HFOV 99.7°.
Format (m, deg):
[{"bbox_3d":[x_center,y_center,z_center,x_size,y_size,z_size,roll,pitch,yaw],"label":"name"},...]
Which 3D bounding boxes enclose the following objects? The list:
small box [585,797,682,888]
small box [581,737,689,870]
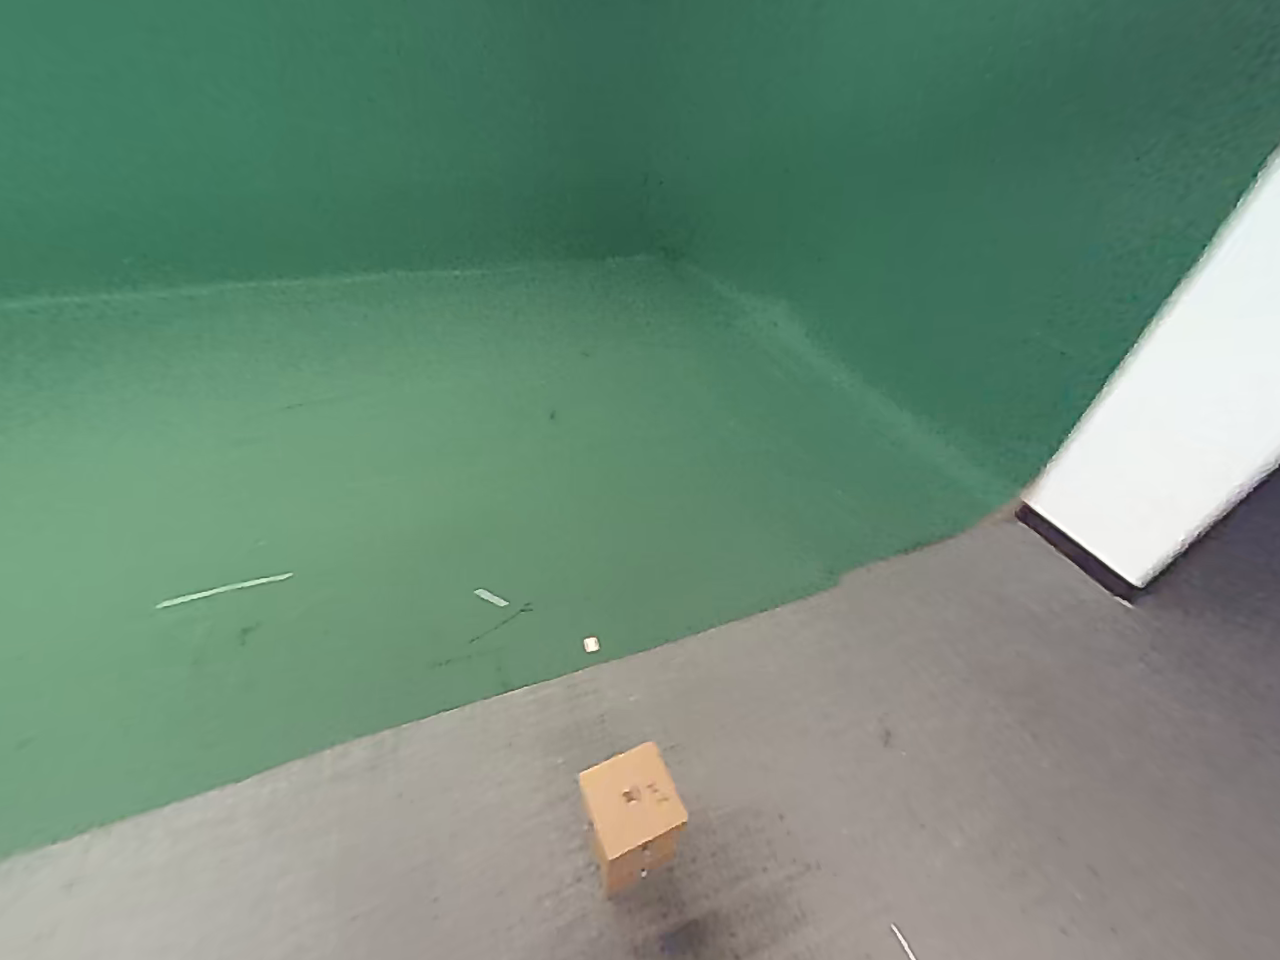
[{"bbox_3d":[-0.020,0.806,1.252,0.179,0.176,0.168,-13,46,-19],"label":"small box"},{"bbox_3d":[-0.015,0.685,1.141,0.179,0.176,0.168,-14,47,-19],"label":"small box"}]
